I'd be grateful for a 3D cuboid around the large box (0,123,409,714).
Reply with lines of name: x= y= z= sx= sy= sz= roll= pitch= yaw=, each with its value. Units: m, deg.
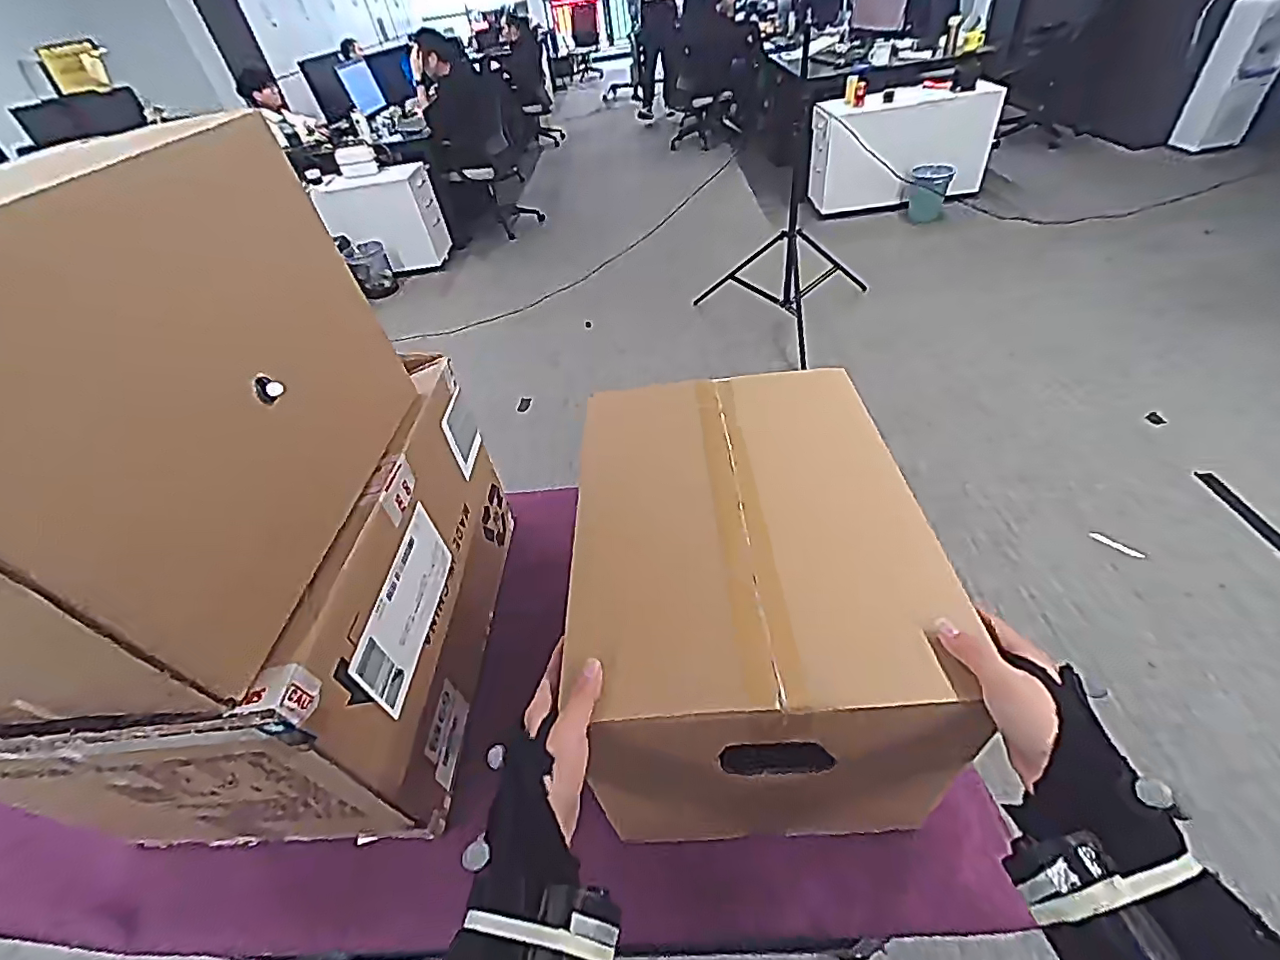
large box: x=-0.463 y=-0.062 z=0.469 sx=0.320 sy=0.320 sz=0.408 roll=-8 pitch=44 yaw=9
